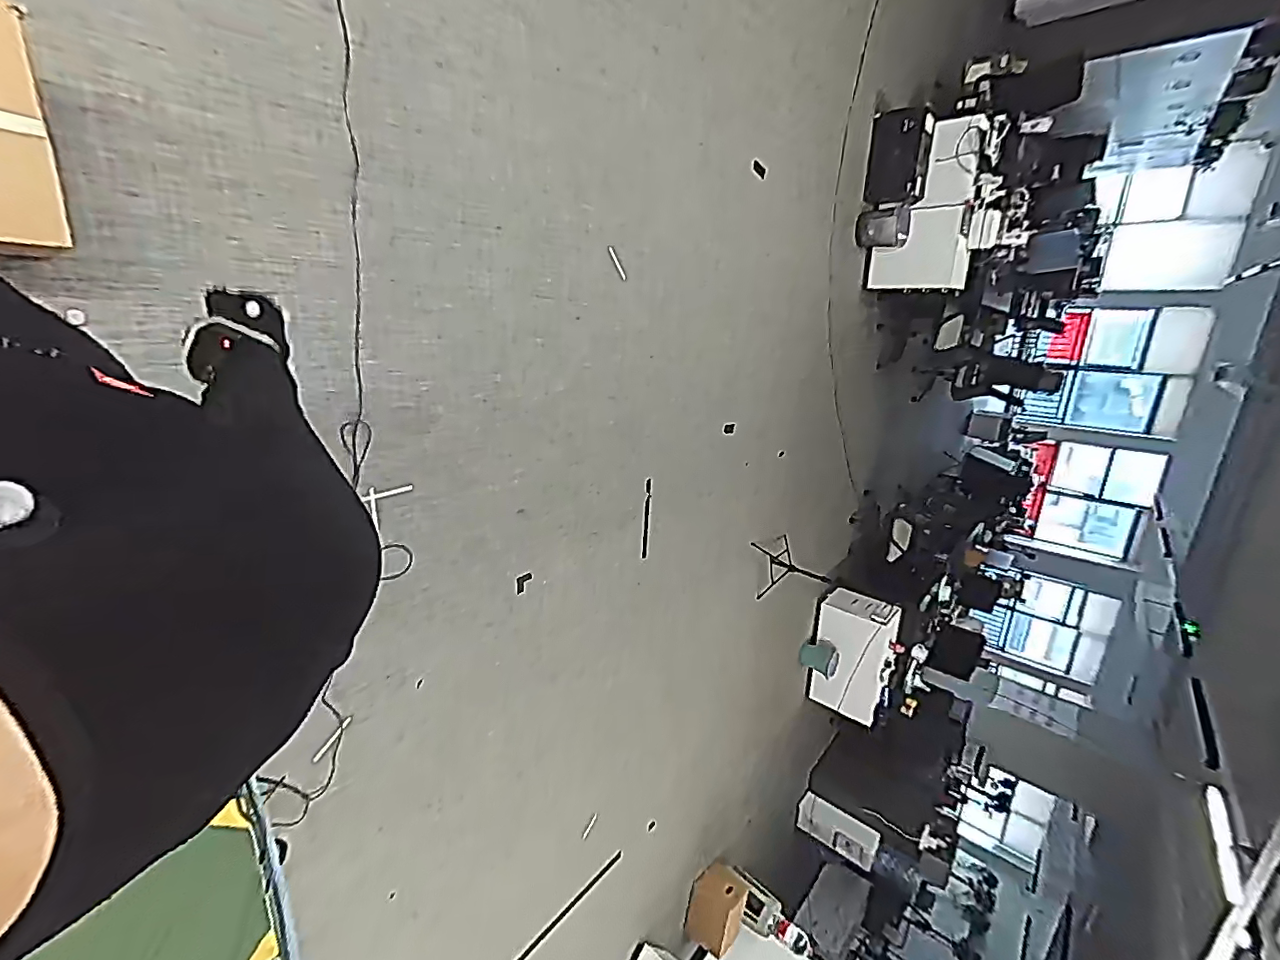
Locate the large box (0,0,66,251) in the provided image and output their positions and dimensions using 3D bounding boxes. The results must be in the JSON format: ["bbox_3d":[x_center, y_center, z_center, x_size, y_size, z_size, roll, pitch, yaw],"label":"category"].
[{"bbox_3d":[-1.101,-0.496,0.713,0.408,0.320,0.320,-17,115,-49],"label":"large box"}]
